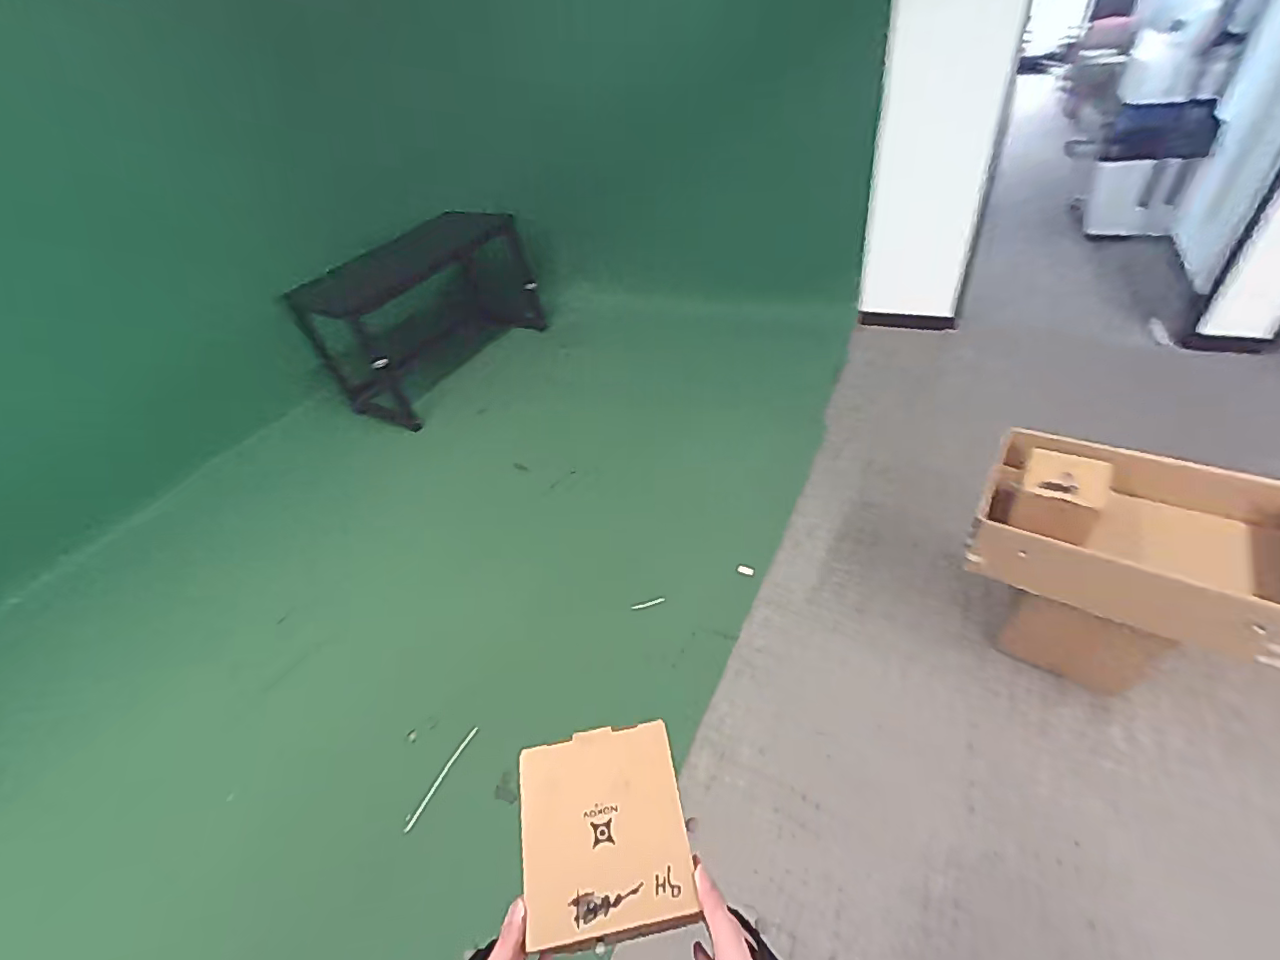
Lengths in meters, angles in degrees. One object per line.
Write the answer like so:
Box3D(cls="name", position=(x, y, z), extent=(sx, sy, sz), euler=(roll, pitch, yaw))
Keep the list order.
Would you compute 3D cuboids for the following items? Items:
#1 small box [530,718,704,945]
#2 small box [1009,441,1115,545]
Box3D(cls="small box", position=(-0.025, 0.401, 0.617), extent=(0.168, 0.176, 0.179), euler=(-11, 48, -1))
Box3D(cls="small box", position=(1.050, 0.033, 1.356), extent=(0.168, 0.176, 0.179), euler=(18, 51, 30))
